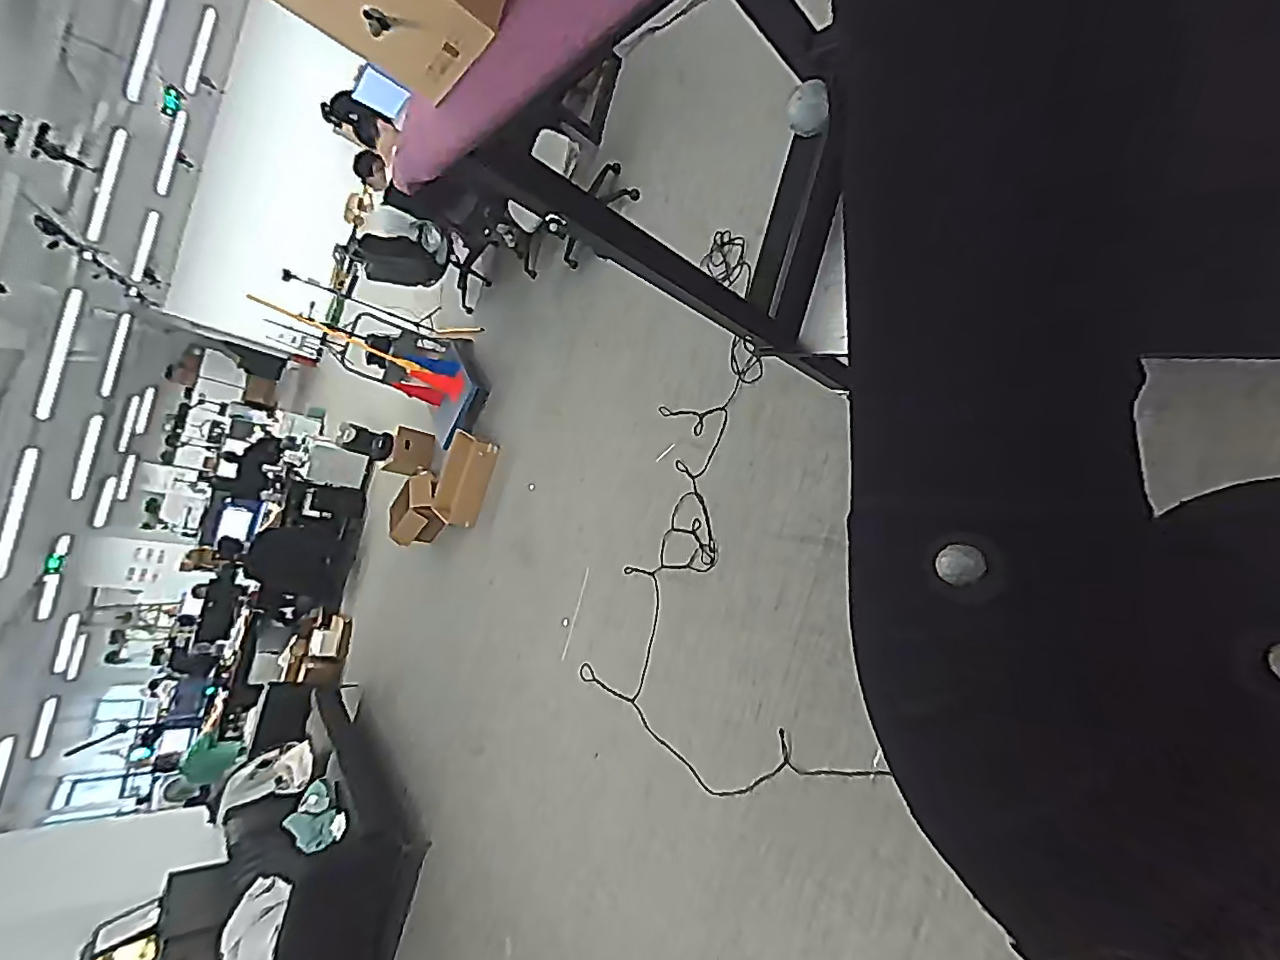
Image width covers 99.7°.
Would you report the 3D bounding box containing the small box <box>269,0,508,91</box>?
[{"bbox_3d":[-0.211,-0.494,0.481,0.168,0.176,0.179,13,89,50],"label":"small box"}]
